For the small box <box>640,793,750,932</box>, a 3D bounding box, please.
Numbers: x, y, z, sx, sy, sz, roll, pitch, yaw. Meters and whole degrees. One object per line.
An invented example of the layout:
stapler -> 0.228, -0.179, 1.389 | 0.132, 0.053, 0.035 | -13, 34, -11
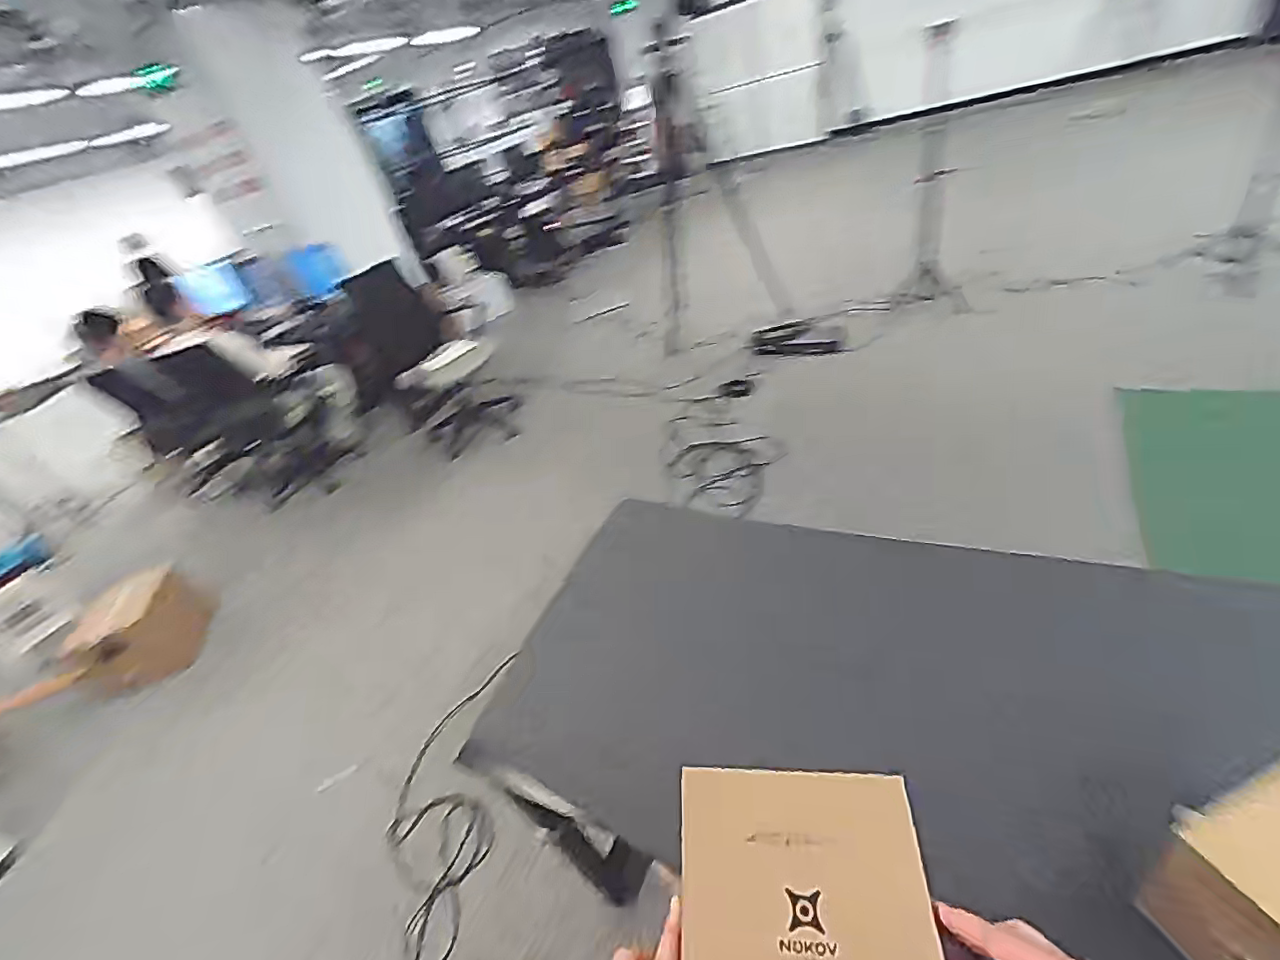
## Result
small box -> 0.130, 0.873, 1.233 | 0.179, 0.176, 0.168 | -31, 37, -18

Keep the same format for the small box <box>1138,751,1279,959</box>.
small box -> 0.574, 0.362, 0.452 | 0.179, 0.176, 0.168 | -23, 33, -7
